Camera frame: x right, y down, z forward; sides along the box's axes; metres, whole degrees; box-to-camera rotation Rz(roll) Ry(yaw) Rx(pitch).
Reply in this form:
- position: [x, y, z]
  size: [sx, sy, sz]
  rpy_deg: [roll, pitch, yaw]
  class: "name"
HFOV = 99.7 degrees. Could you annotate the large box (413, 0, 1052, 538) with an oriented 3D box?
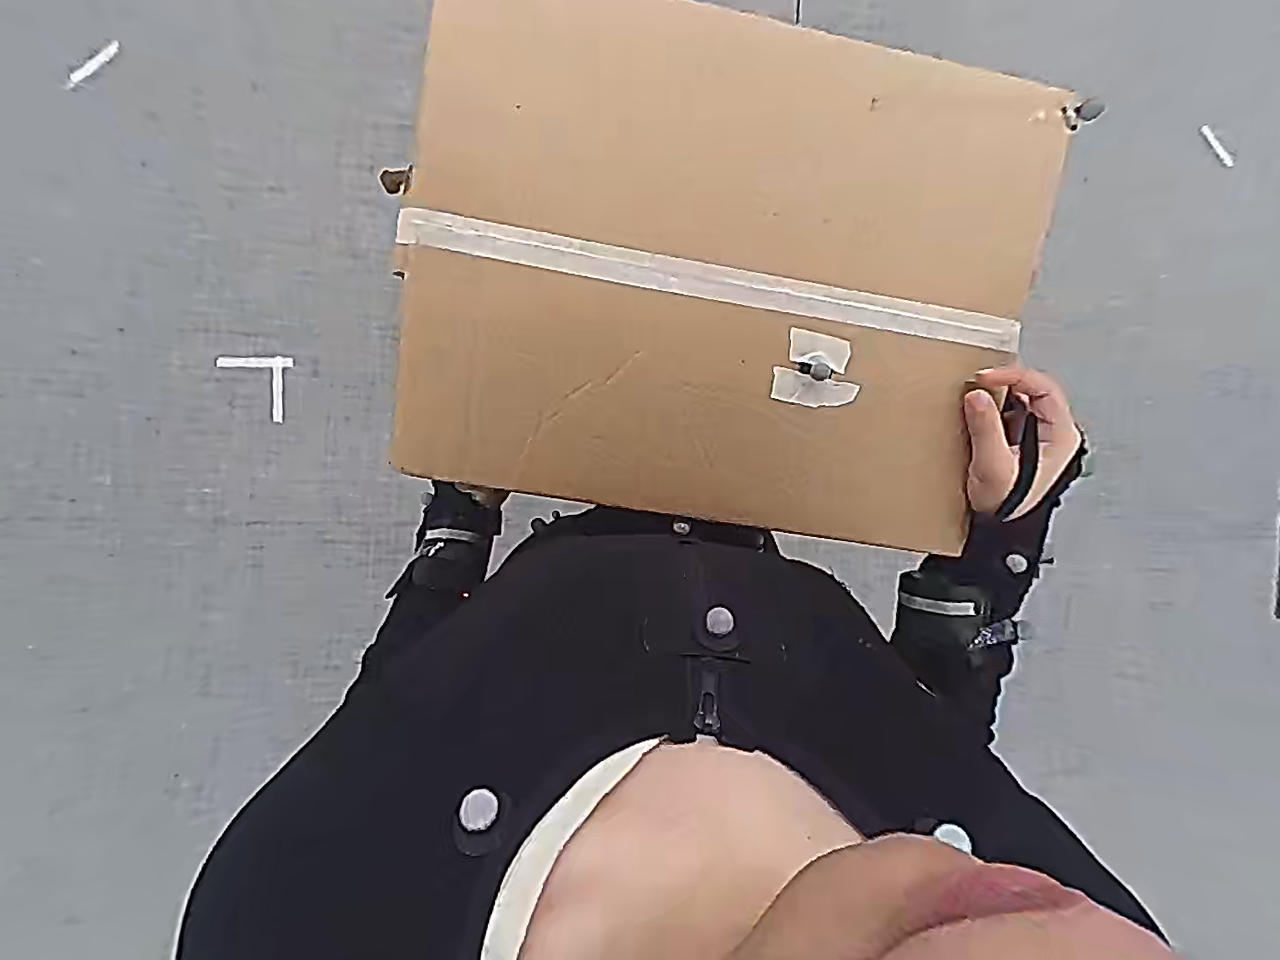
- position: [0.047, -0.152, 0.508]
  size: [0.408, 0.320, 0.320]
  rpy_deg: [8, 99, -6]
  class: "large box"
